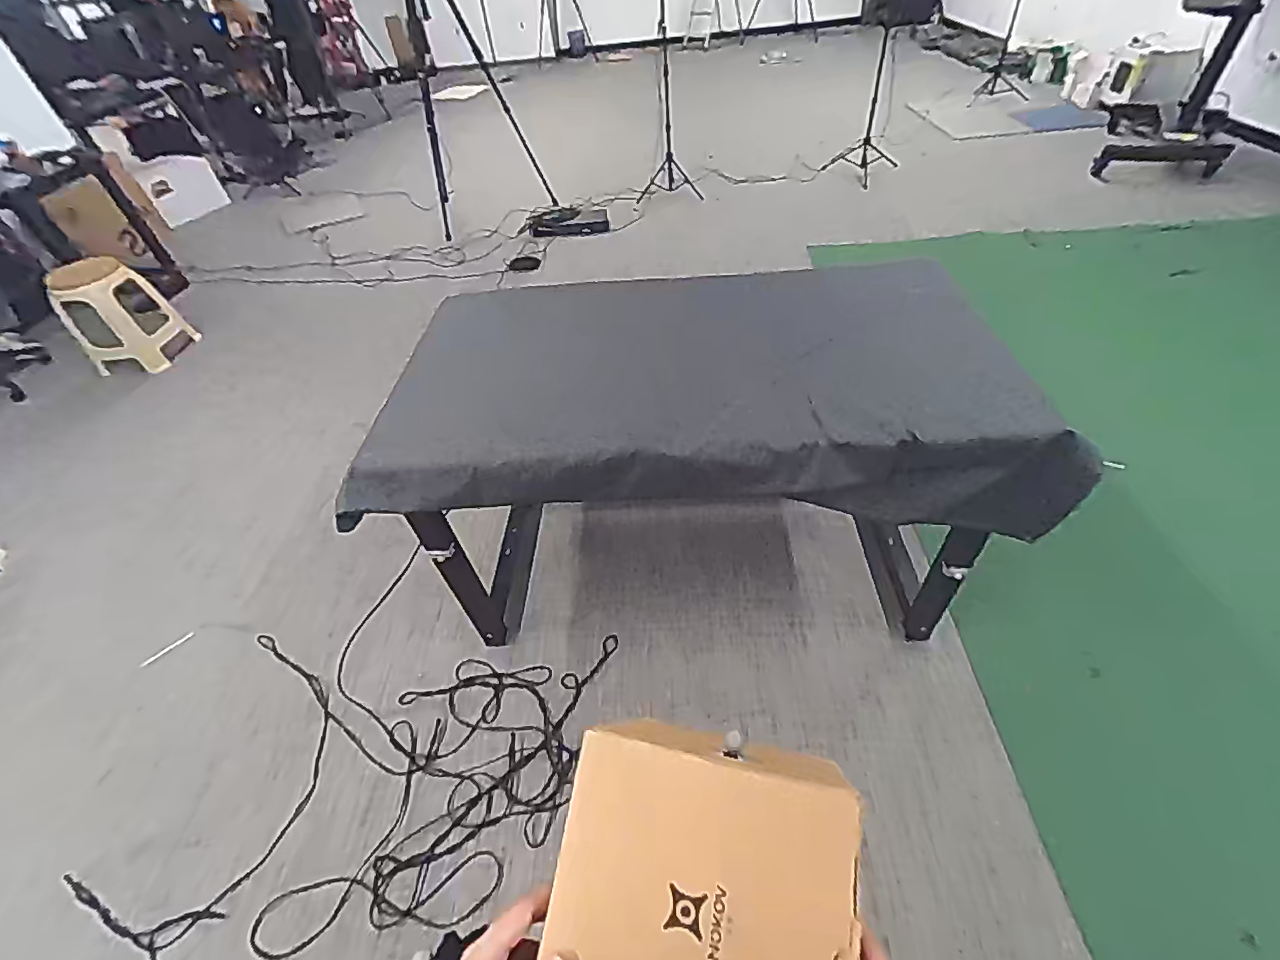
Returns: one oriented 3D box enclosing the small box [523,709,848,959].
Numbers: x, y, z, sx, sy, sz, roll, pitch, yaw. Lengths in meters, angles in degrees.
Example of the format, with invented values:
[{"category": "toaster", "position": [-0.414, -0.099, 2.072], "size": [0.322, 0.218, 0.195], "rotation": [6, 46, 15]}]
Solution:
[{"category": "small box", "position": [0.043, 0.269, 0.387], "size": [0.179, 0.176, 0.168], "rotation": [6, 70, 16]}]
